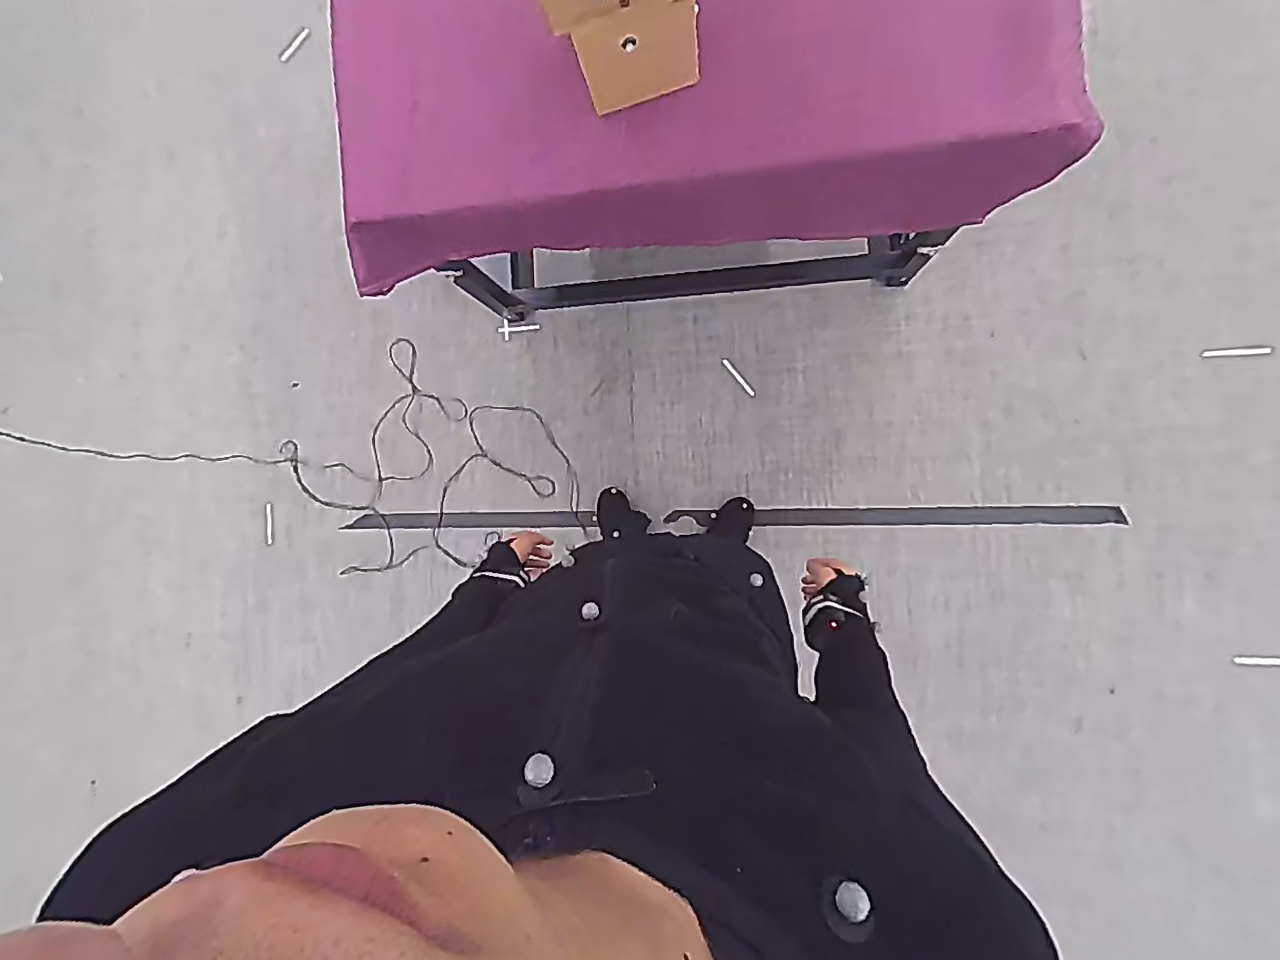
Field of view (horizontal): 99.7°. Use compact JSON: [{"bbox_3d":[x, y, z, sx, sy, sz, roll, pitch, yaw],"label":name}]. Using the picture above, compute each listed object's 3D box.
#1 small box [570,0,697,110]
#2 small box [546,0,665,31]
[{"bbox_3d":[-0.016,-0.710,0.820,0.179,0.176,0.168,-13,89,8],"label":"small box"},{"bbox_3d":[-0.063,-0.715,0.660,0.168,0.176,0.179,-8,89,9],"label":"small box"}]
